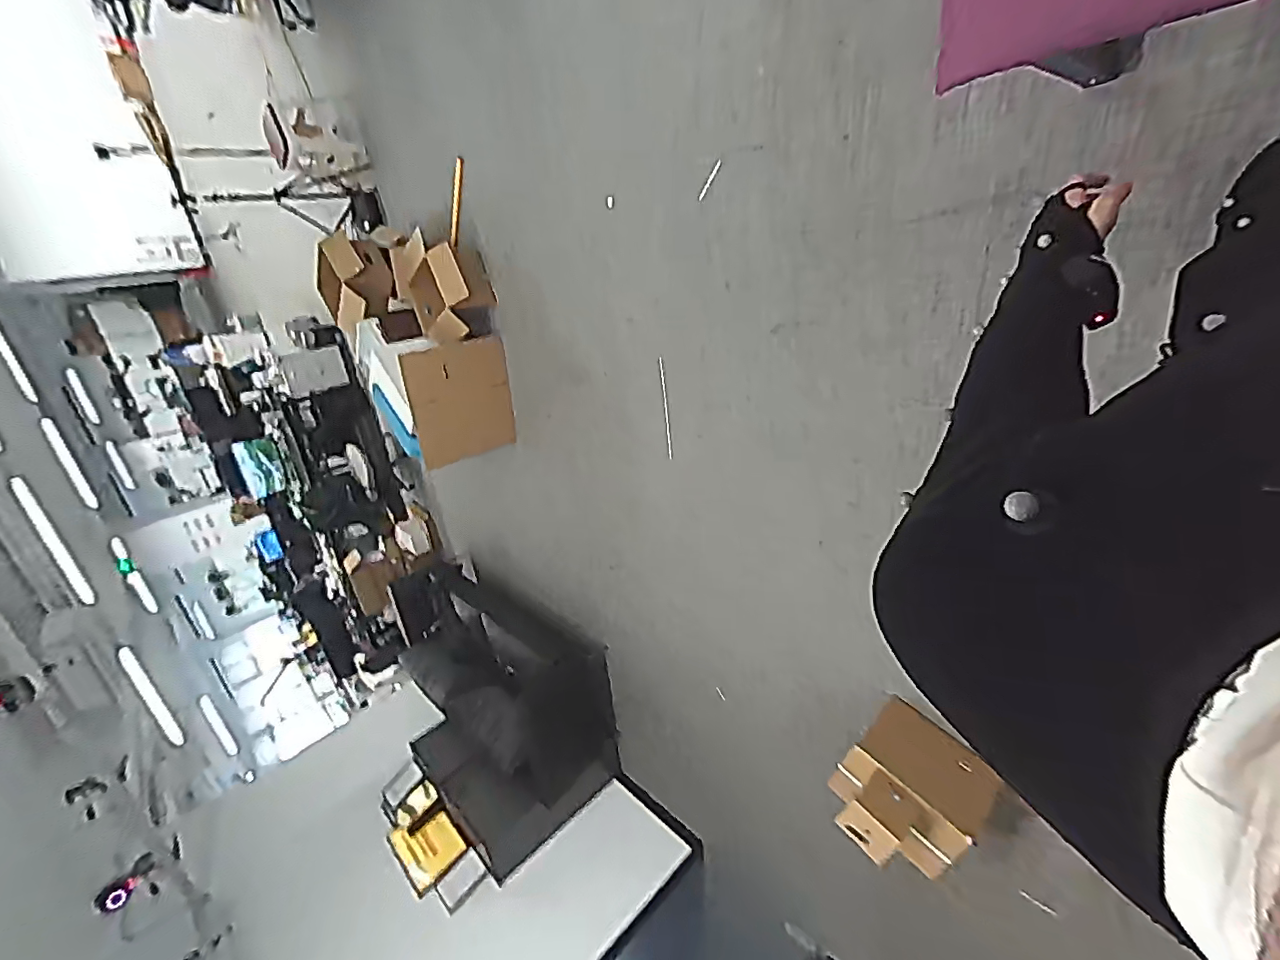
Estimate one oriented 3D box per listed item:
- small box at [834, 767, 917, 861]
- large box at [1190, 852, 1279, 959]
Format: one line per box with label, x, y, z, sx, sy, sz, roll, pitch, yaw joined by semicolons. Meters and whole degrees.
small box;0.780;1.098;1.786;0.168;0.176;0.179;38;134;30
large box;1.607;1.135;1.236;0.408;0.320;0.320;-31;87;52
